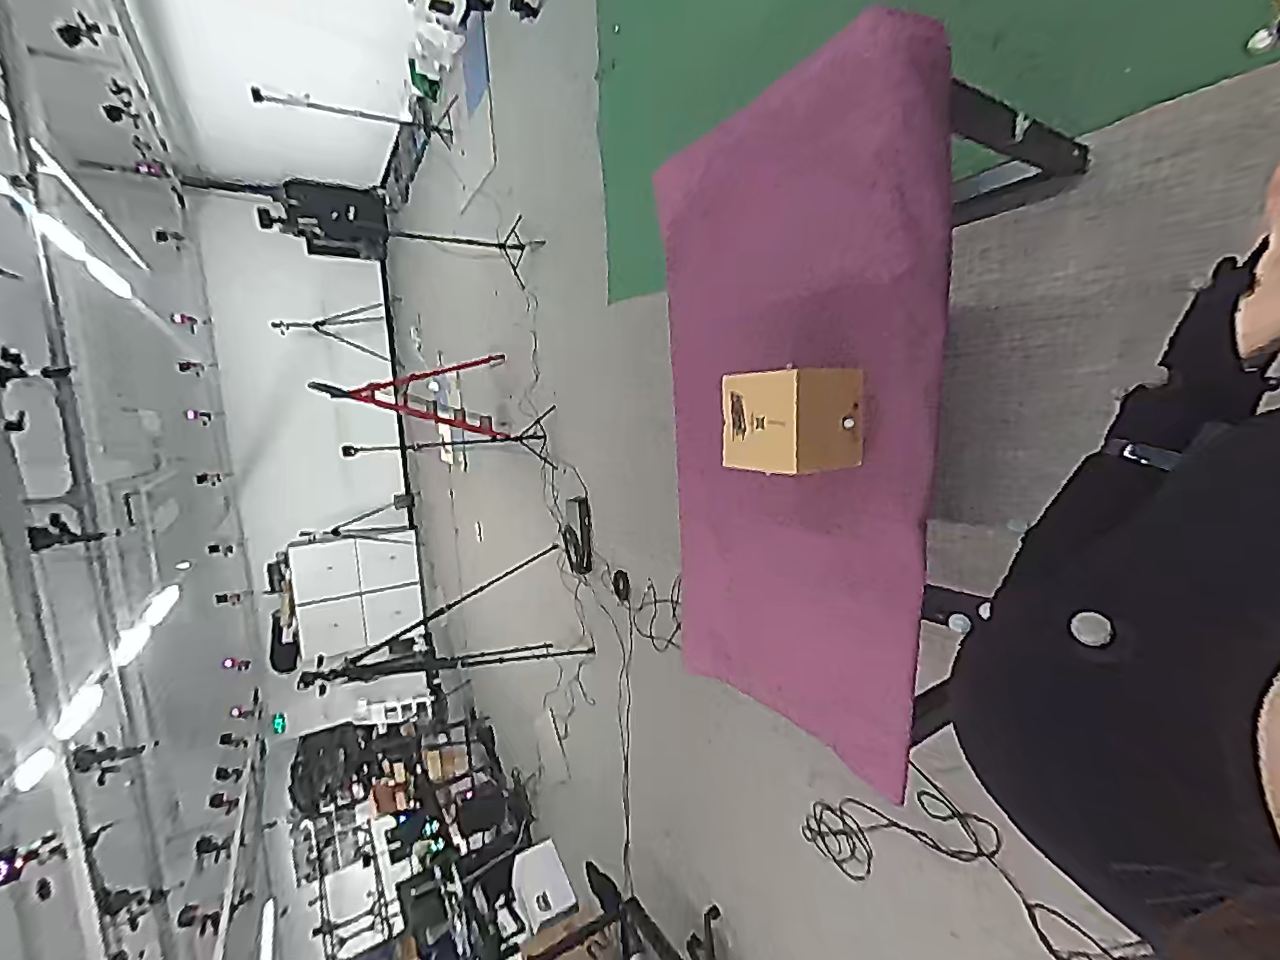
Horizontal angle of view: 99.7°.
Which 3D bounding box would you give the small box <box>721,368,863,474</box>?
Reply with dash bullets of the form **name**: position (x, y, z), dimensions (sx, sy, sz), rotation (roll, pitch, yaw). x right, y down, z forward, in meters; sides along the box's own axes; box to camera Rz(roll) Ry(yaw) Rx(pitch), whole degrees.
- **small box**: position (0.261, -0.106, 0.946), dimensions (0.179, 0.176, 0.168), rotation (10, 105, 57)
